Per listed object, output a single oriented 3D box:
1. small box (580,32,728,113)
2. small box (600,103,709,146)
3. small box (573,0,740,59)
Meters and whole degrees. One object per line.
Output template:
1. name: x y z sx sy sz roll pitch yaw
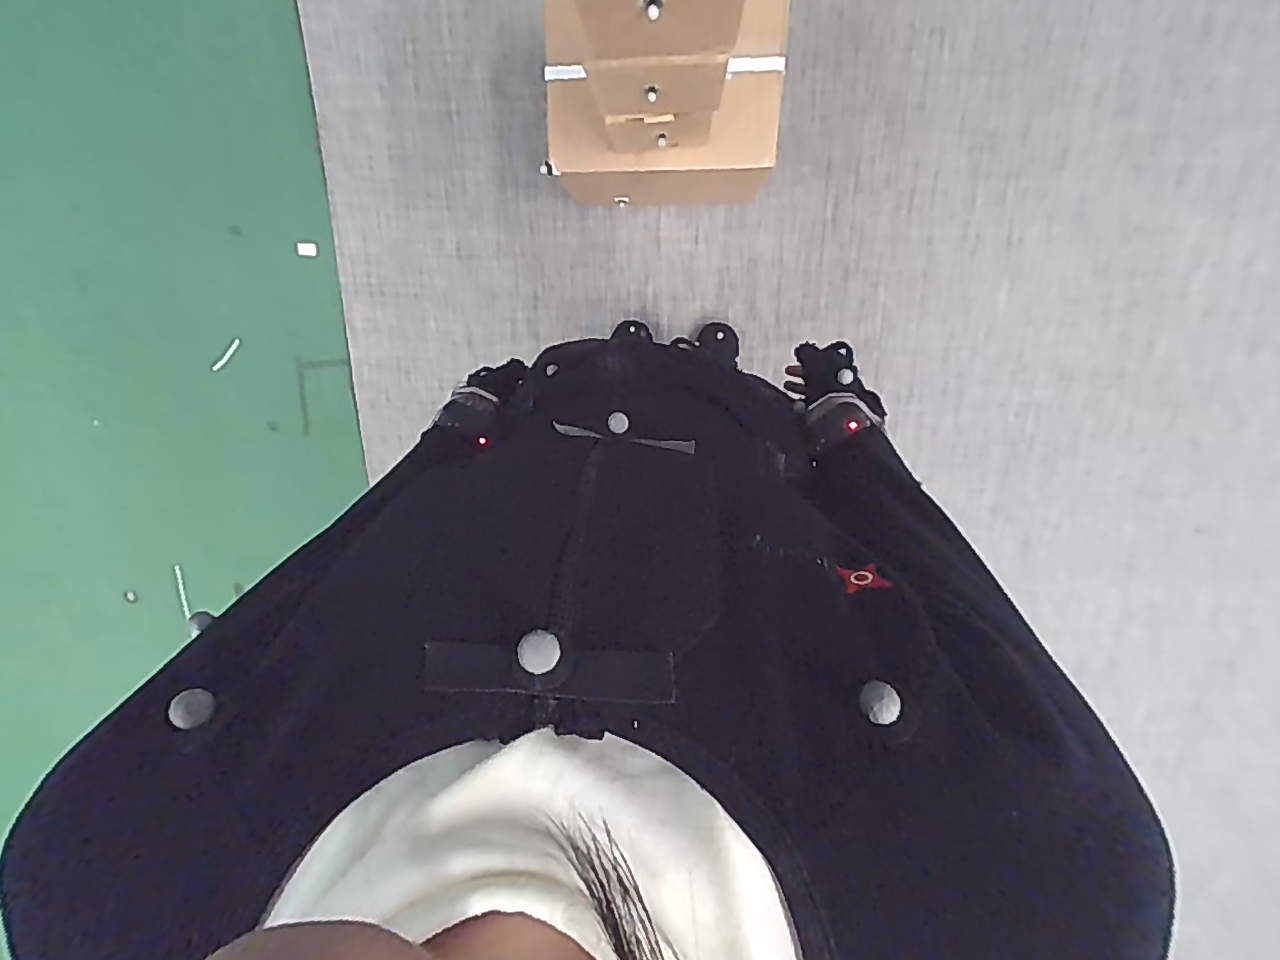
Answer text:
1. small box: 0.021 -0.593 0.693 0.179 0.176 0.168 1 107 5
2. small box: 0.025 -0.644 0.850 0.168 0.176 0.179 -2 108 5
3. small box: 0.015 -0.551 0.537 0.179 0.176 0.168 -1 109 4
